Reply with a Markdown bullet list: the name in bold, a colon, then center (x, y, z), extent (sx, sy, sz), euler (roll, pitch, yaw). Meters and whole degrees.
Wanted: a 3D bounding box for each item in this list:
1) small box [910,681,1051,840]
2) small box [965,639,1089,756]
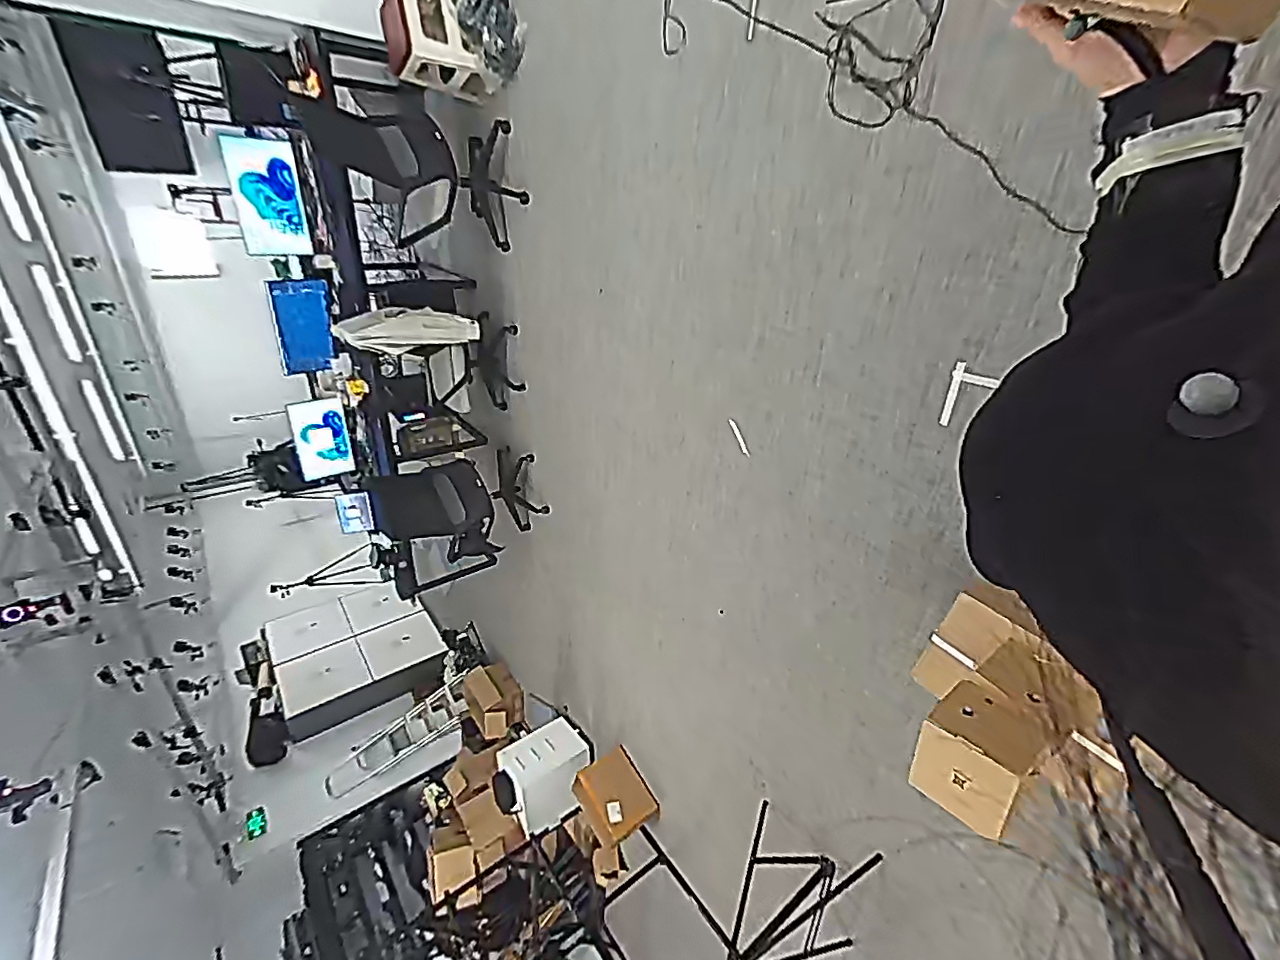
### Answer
- **small box**: center (0.655, 0.524, 1.040), extent (0.168, 0.176, 0.179), euler (26, 125, 48)
- **small box**: center (0.781, 0.469, 1.128), extent (0.179, 0.176, 0.168), euler (42, 135, 38)
